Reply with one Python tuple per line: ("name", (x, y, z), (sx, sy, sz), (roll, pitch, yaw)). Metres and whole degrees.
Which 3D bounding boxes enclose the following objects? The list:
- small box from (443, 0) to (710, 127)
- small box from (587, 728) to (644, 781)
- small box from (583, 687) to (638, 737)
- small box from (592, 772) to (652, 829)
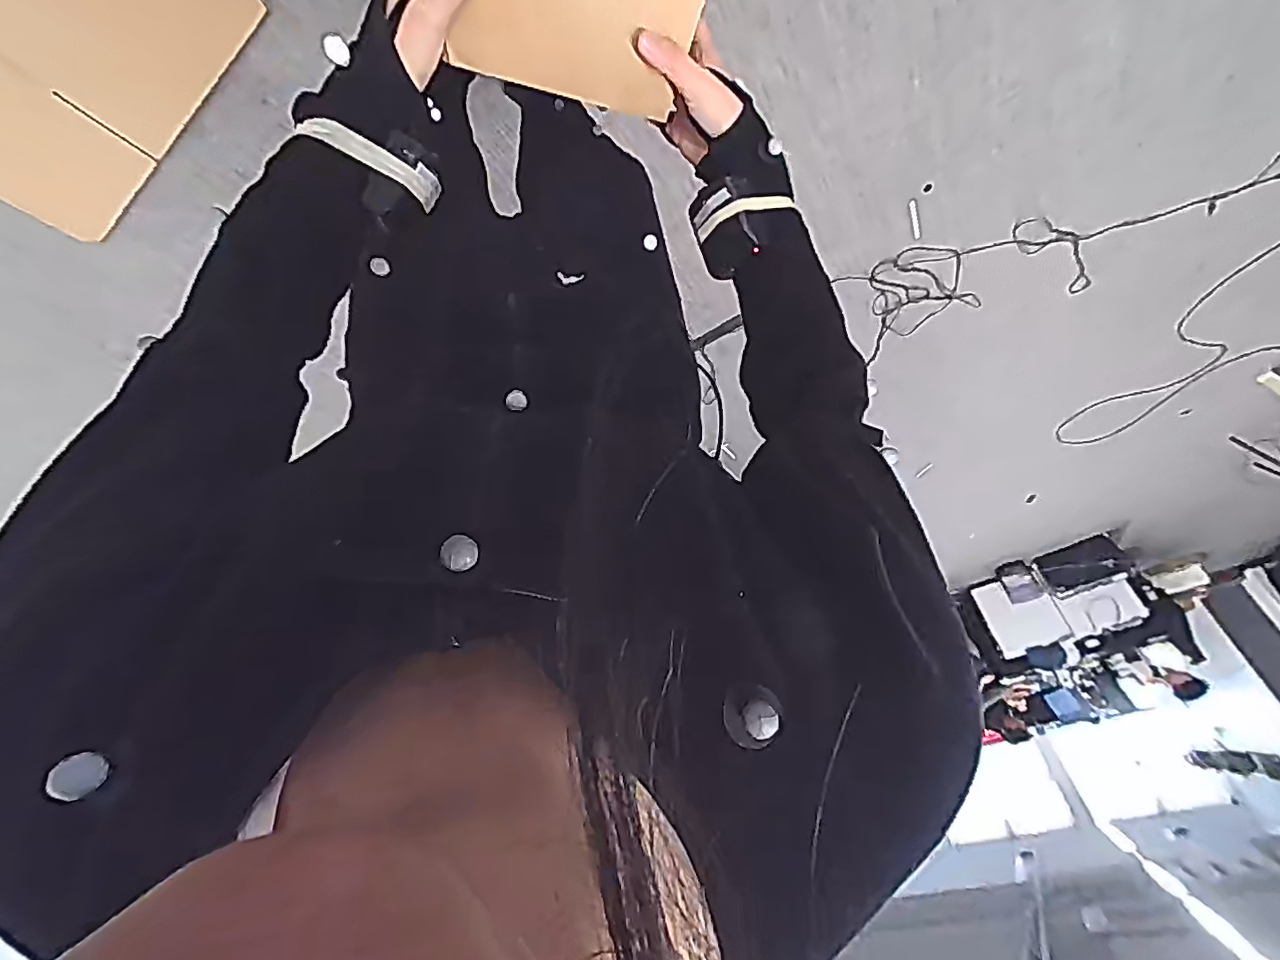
("small box", (-0.048, -0.403, 0.396), (0.179, 0.176, 0.168), (1, 145, -21))
("small box", (-0.101, 1.142, 2.251), (0.168, 0.176, 0.179), (-24, 146, 17))
("small box", (-0.128, 1.009, 2.343), (0.168, 0.176, 0.179), (-25, 145, 18))
("small box", (-0.076, 1.274, 2.157), (0.168, 0.176, 0.179), (-24, 146, 17))
